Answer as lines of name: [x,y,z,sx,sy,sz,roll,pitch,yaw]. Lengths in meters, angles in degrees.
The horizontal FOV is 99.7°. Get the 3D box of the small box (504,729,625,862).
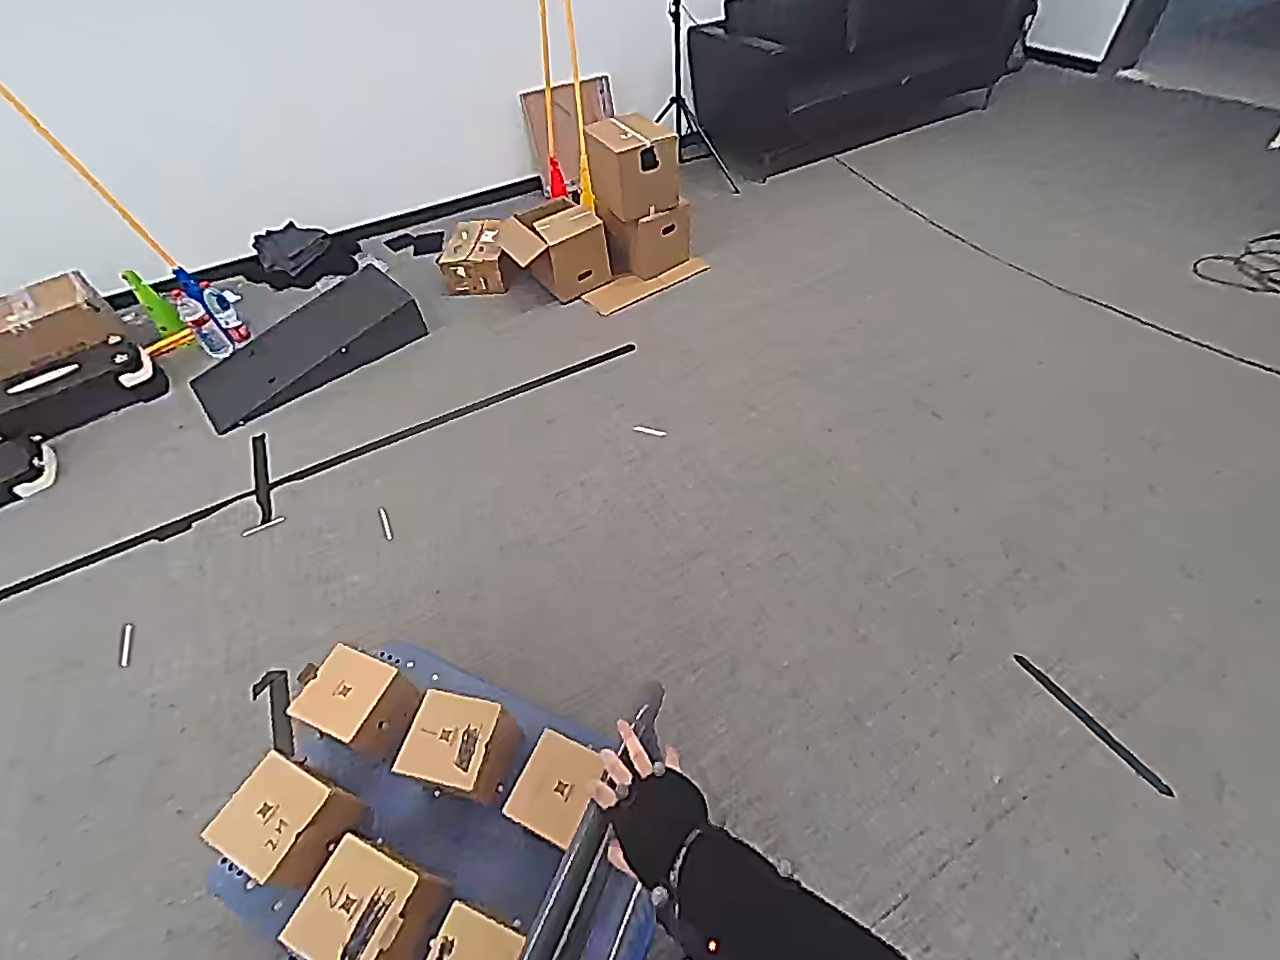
small box: [-0.140,0.638,1.087,0.179,0.176,0.168,17,53,18]

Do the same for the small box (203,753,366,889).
small box: [-0.696,0.685,1.080,0.179,0.176,0.168,19,54,18]

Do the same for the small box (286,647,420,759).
small box: [-0.636,0.511,1.226,0.179,0.176,0.168,15,53,15]

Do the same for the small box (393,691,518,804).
small box: [-0.380,0.575,1.154,0.179,0.176,0.168,7,50,11]

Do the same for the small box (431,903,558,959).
small box: [-0.256,0.850,0.912,0.179,0.176,0.168,14,51,15]
